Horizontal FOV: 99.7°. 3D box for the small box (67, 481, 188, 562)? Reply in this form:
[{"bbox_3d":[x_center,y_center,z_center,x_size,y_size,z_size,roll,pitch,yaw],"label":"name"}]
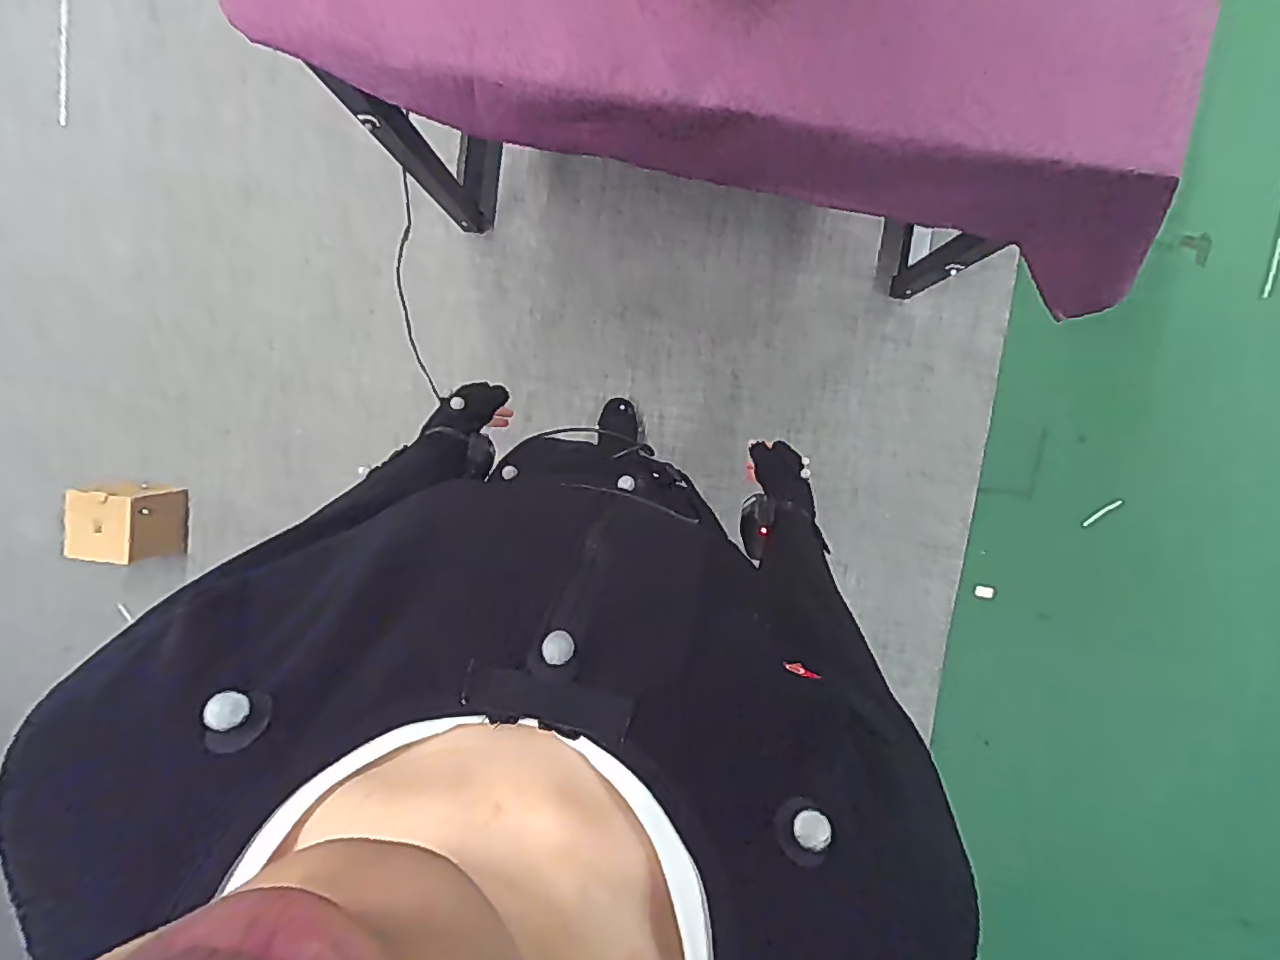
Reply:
[{"bbox_3d":[-1.340,0.104,1.423,0.168,0.176,0.179,7,95,0],"label":"small box"}]
